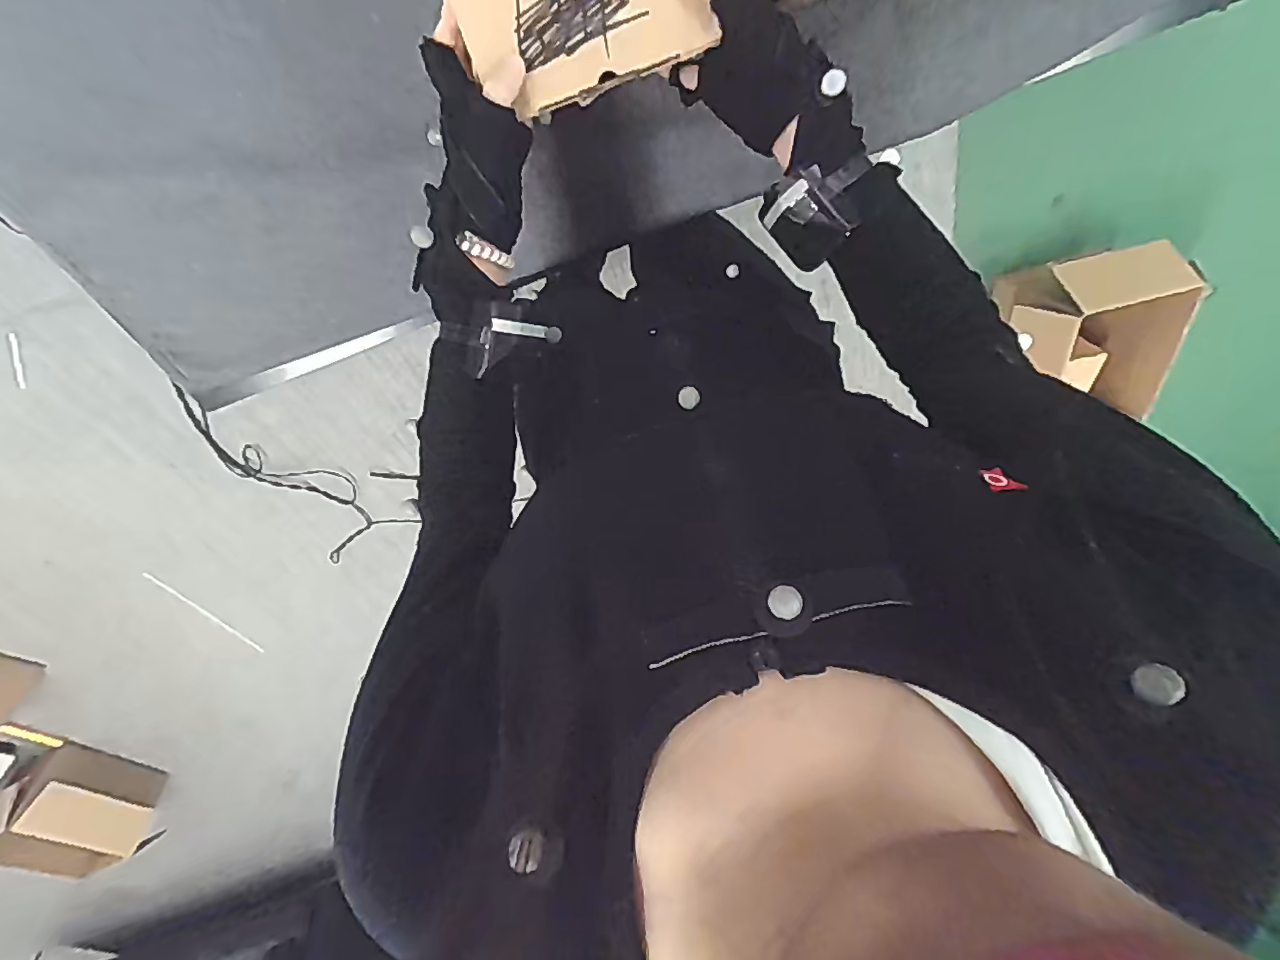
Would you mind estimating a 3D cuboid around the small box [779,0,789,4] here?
[{"bbox_3d":[0.172,-0.470,0.369,0.168,0.176,0.179,-20,128,6],"label":"small box"}]

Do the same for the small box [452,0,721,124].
[{"bbox_3d":[-0.055,-0.384,0.384,0.168,0.176,0.179,-19,125,4],"label":"small box"}]
